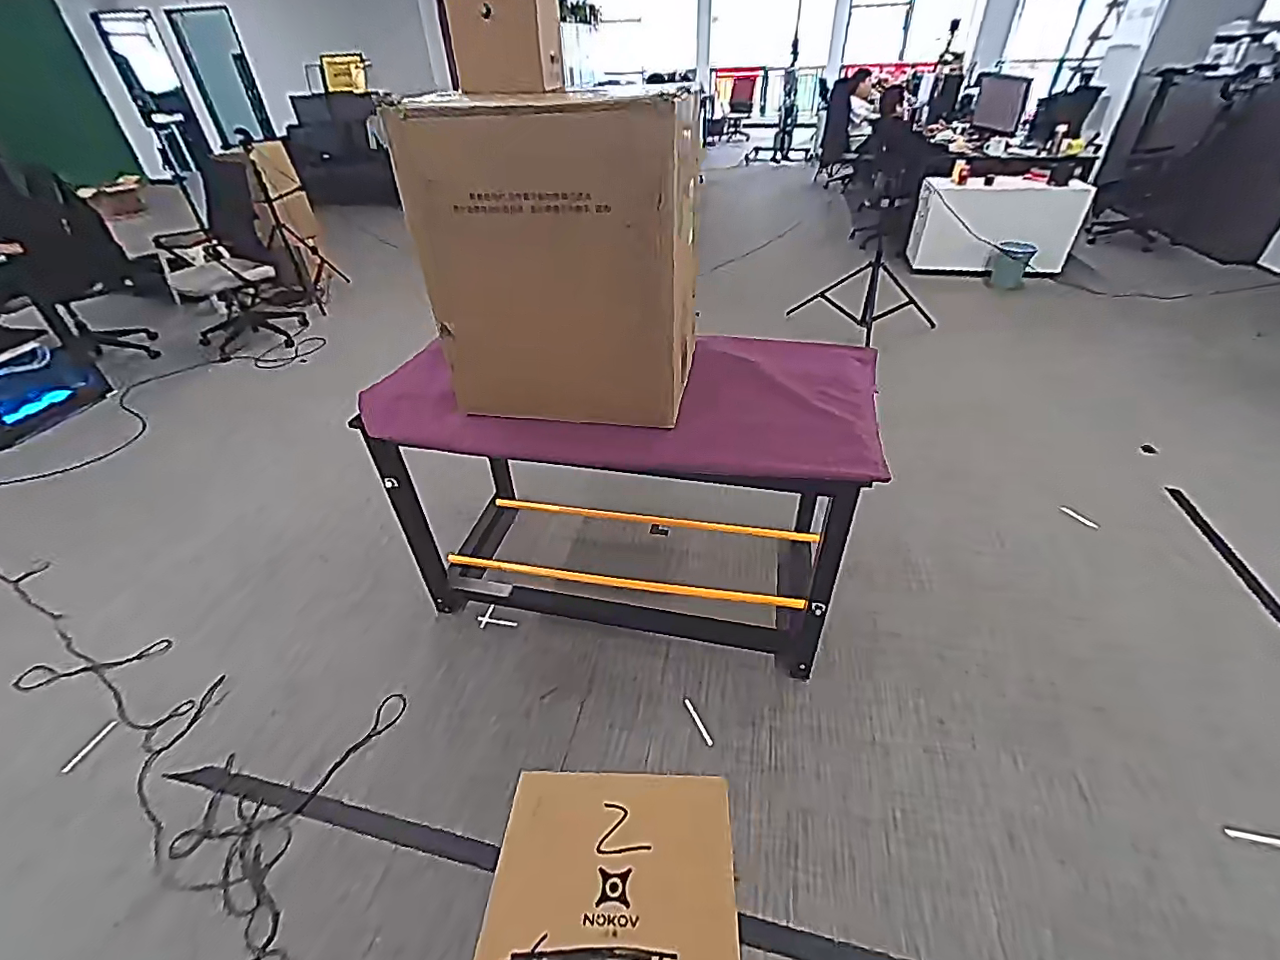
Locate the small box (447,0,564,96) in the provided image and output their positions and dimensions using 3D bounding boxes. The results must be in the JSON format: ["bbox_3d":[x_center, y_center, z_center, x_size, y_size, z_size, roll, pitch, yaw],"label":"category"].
[{"bbox_3d":[-0.261,-0.870,1.076,0.179,0.176,0.168,5,39,7],"label":"small box"}]
